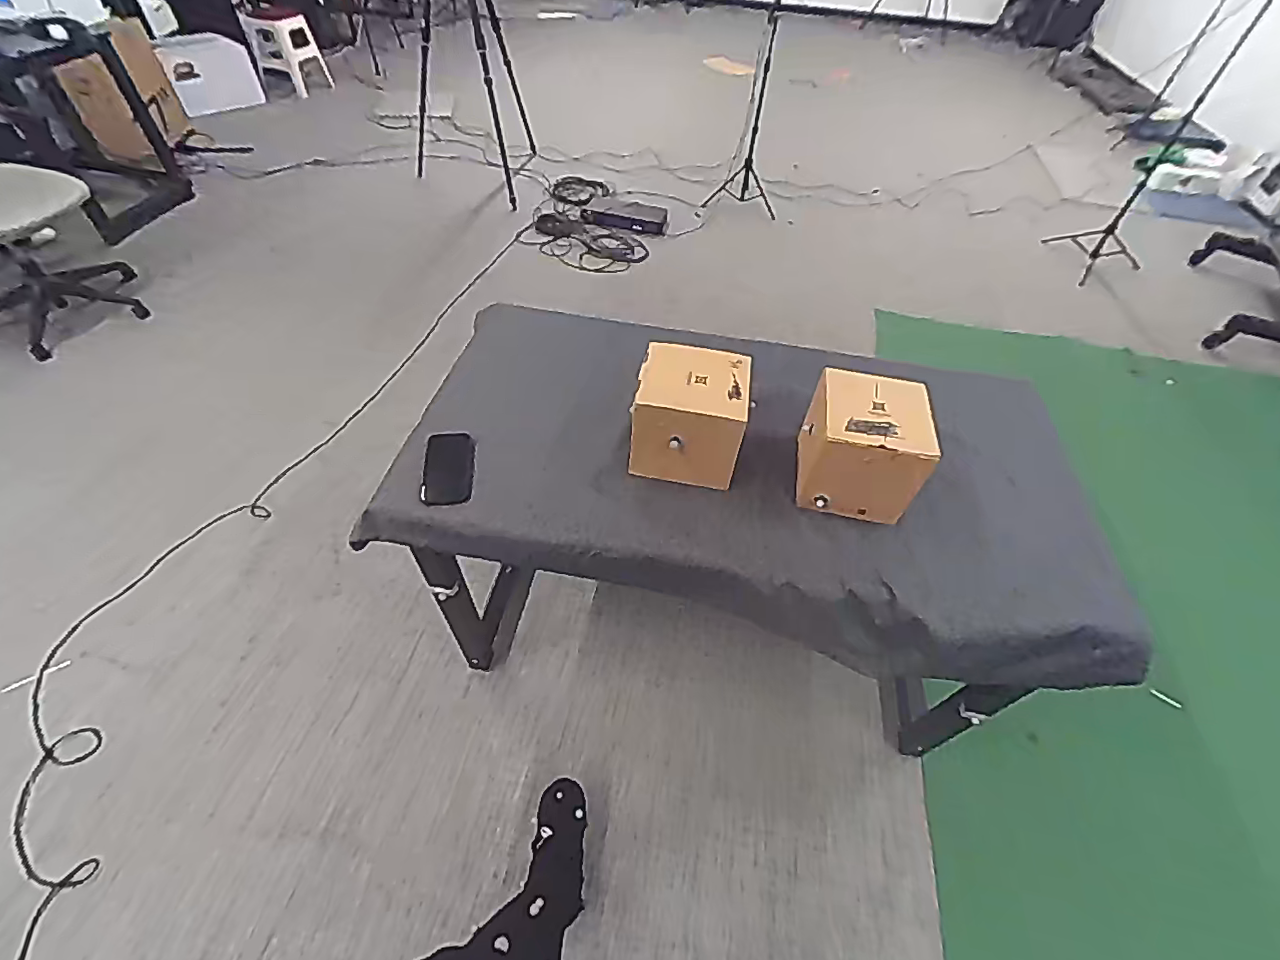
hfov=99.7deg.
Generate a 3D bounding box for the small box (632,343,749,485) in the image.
[{"bbox_3d":[0.084,-0.111,0.936,0.179,0.176,0.168,9,50,4],"label":"small box"}]

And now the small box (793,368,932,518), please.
[{"bbox_3d":[0.364,-0.058,0.914,0.168,0.176,0.179,11,49,5],"label":"small box"}]
